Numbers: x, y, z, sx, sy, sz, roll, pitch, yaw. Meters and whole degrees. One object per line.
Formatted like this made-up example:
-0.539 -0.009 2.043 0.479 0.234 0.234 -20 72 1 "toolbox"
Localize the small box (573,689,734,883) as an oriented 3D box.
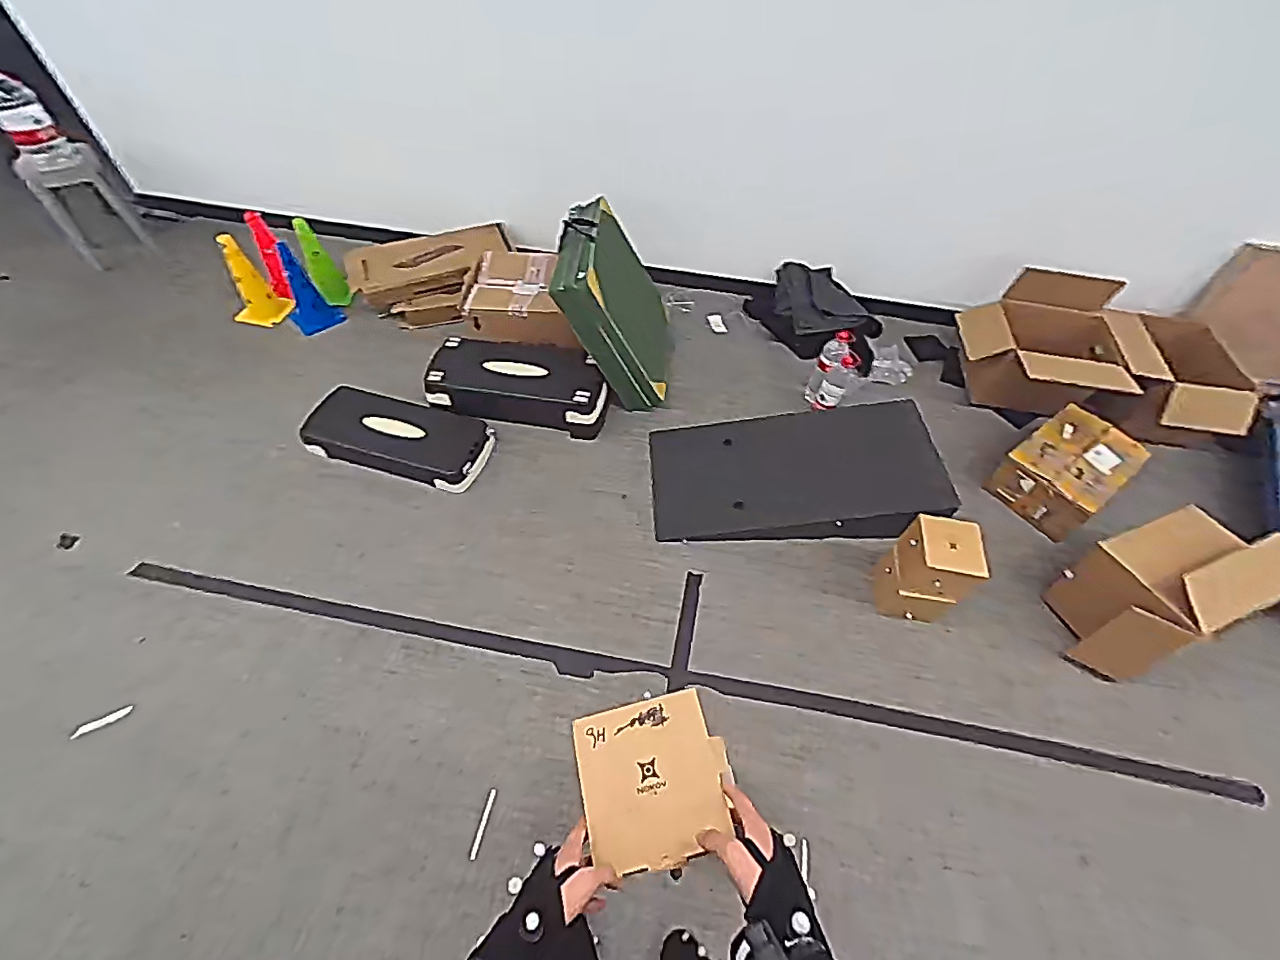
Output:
0.021 0.399 0.712 0.168 0.176 0.179 -15 57 -1 "small box"
